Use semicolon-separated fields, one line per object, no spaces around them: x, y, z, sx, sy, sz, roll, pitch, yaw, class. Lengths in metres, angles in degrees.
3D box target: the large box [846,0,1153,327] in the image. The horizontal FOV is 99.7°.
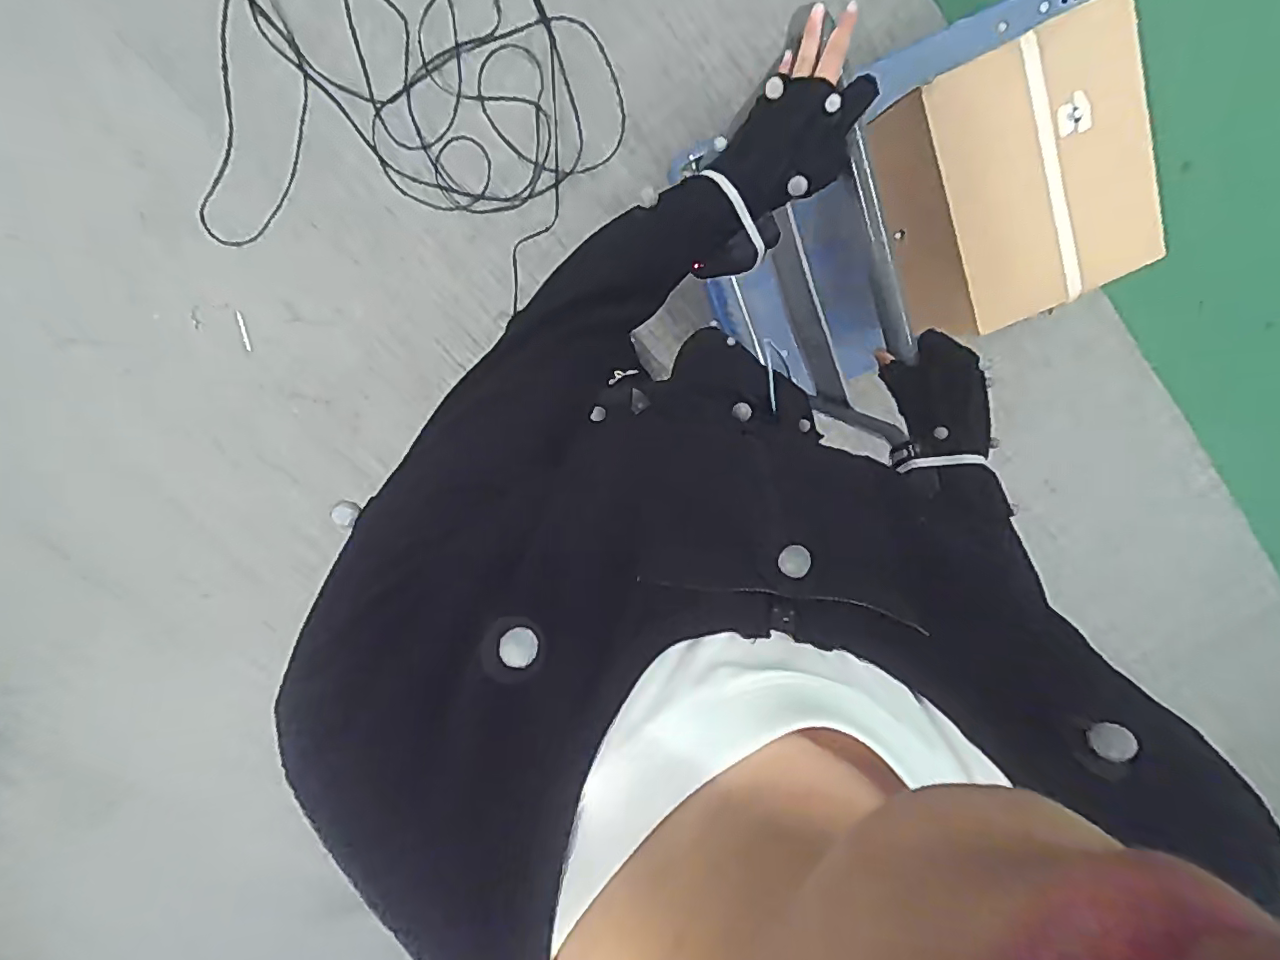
0.634;-0.539;1.002;0.320;0.320;0.408;-23;107;7;large box
